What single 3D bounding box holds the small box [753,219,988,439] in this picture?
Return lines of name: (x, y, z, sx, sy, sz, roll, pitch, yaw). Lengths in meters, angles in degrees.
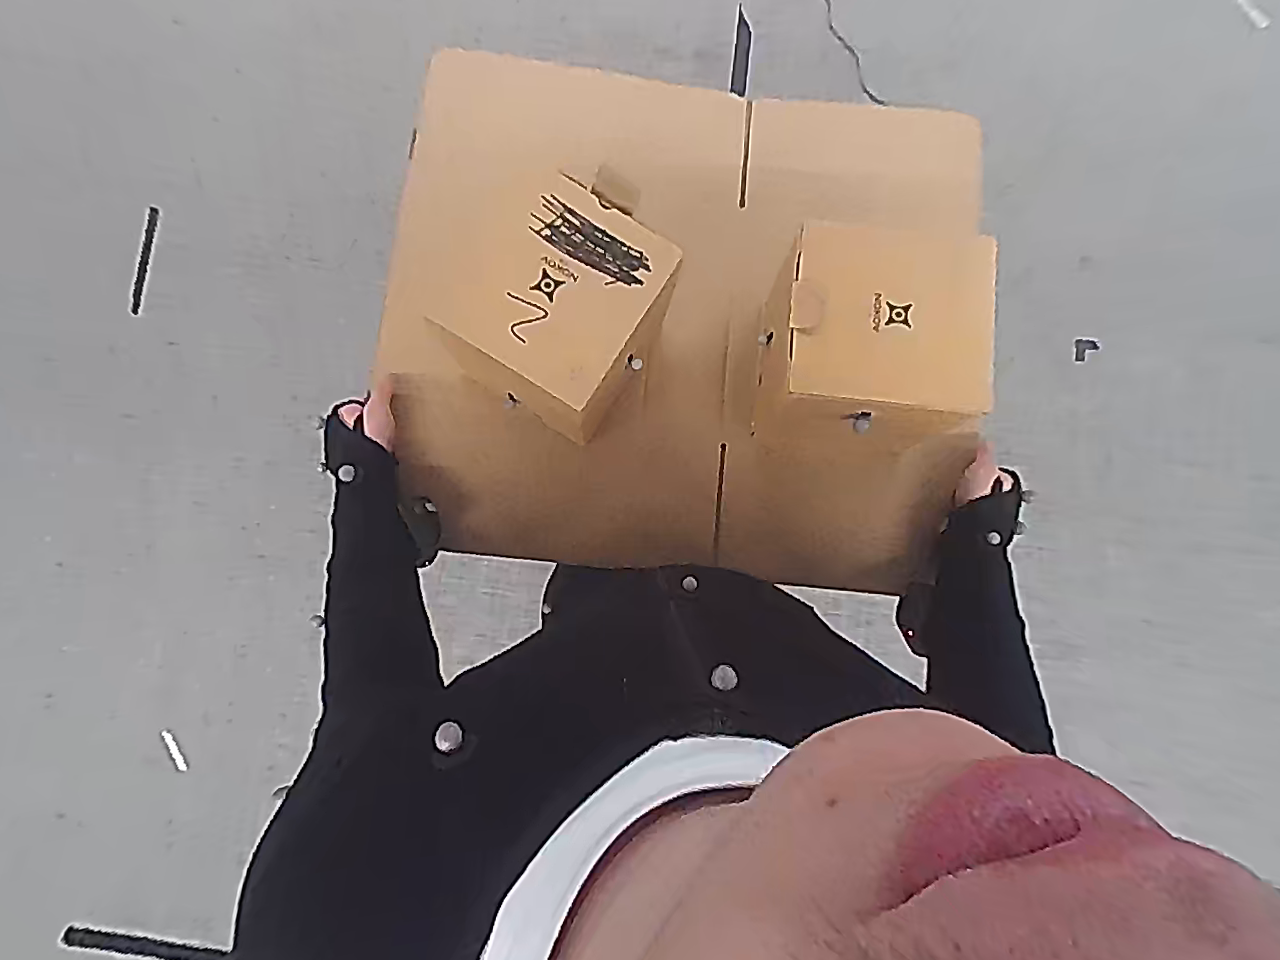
small box: (0.227, -0.143, 0.569, 0.179, 0.176, 0.168, 6, 82, 3)
